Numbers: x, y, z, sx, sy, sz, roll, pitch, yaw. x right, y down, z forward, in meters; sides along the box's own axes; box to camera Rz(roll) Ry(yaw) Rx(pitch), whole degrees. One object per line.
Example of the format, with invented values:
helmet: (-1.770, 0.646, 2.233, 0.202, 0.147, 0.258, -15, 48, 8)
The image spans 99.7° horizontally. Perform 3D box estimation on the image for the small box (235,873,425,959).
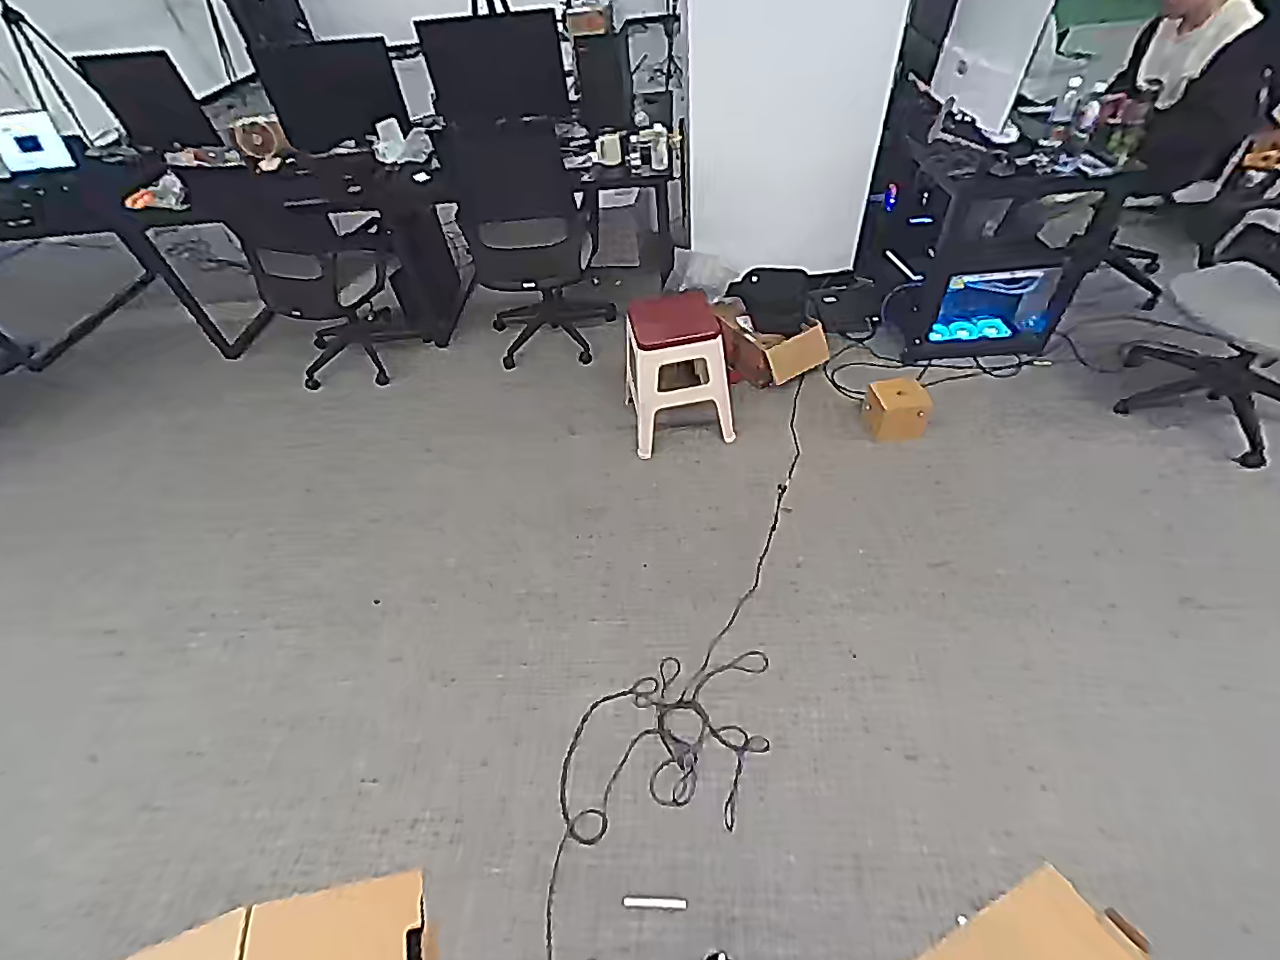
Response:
small box: (-0.337, 0.570, 0.575, 0.179, 0.176, 0.168, 10, 26, -30)
